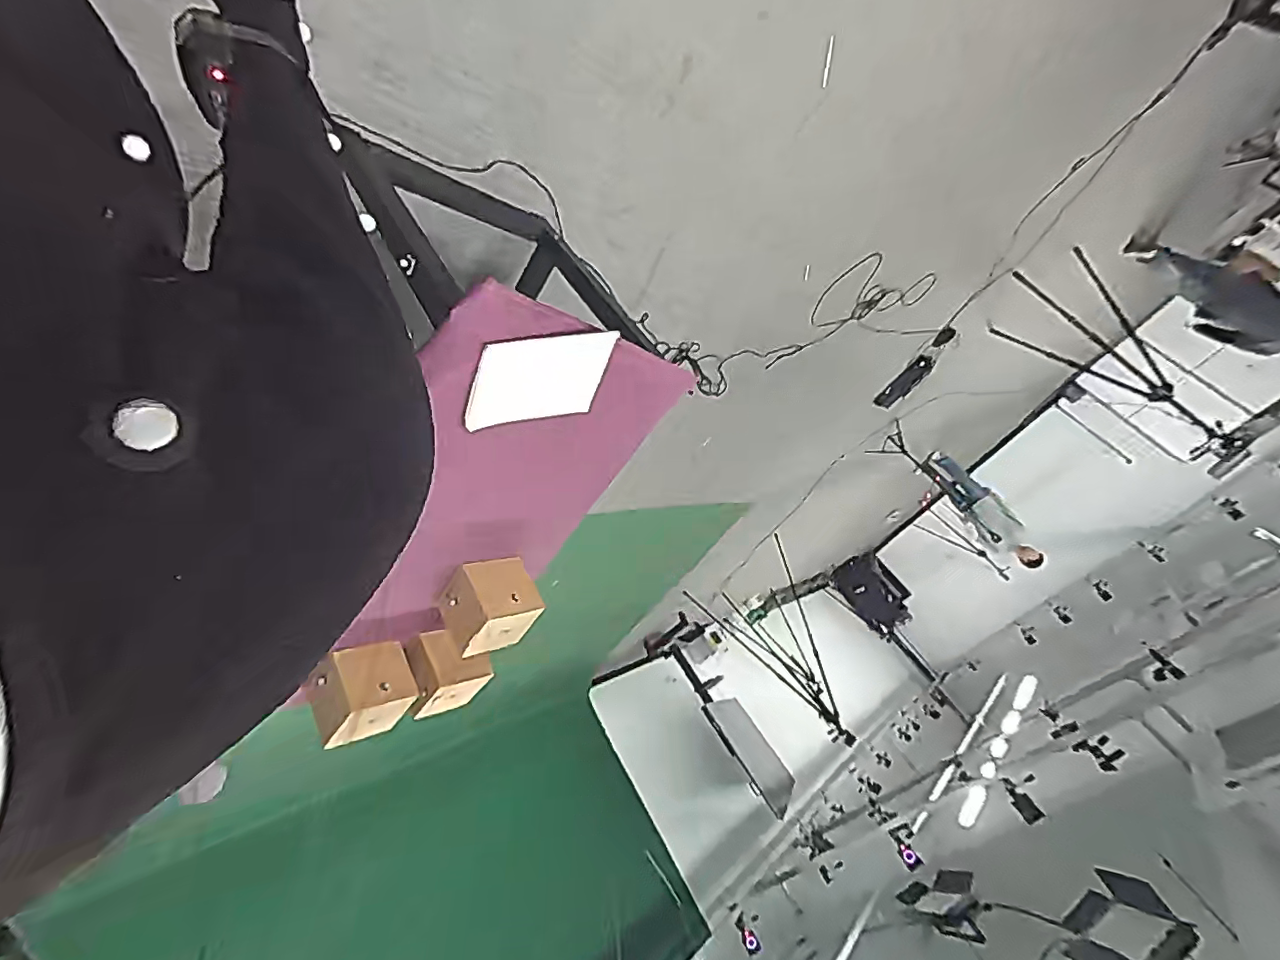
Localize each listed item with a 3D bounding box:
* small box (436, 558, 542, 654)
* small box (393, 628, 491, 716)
[{"bbox_3d":[-0.391,0.315,1.390,0.179,0.176,0.168,1,136,-50],"label":"small box"},{"bbox_3d":[-0.565,0.530,1.536,0.168,0.176,0.179,-49,152,23],"label":"small box"}]
